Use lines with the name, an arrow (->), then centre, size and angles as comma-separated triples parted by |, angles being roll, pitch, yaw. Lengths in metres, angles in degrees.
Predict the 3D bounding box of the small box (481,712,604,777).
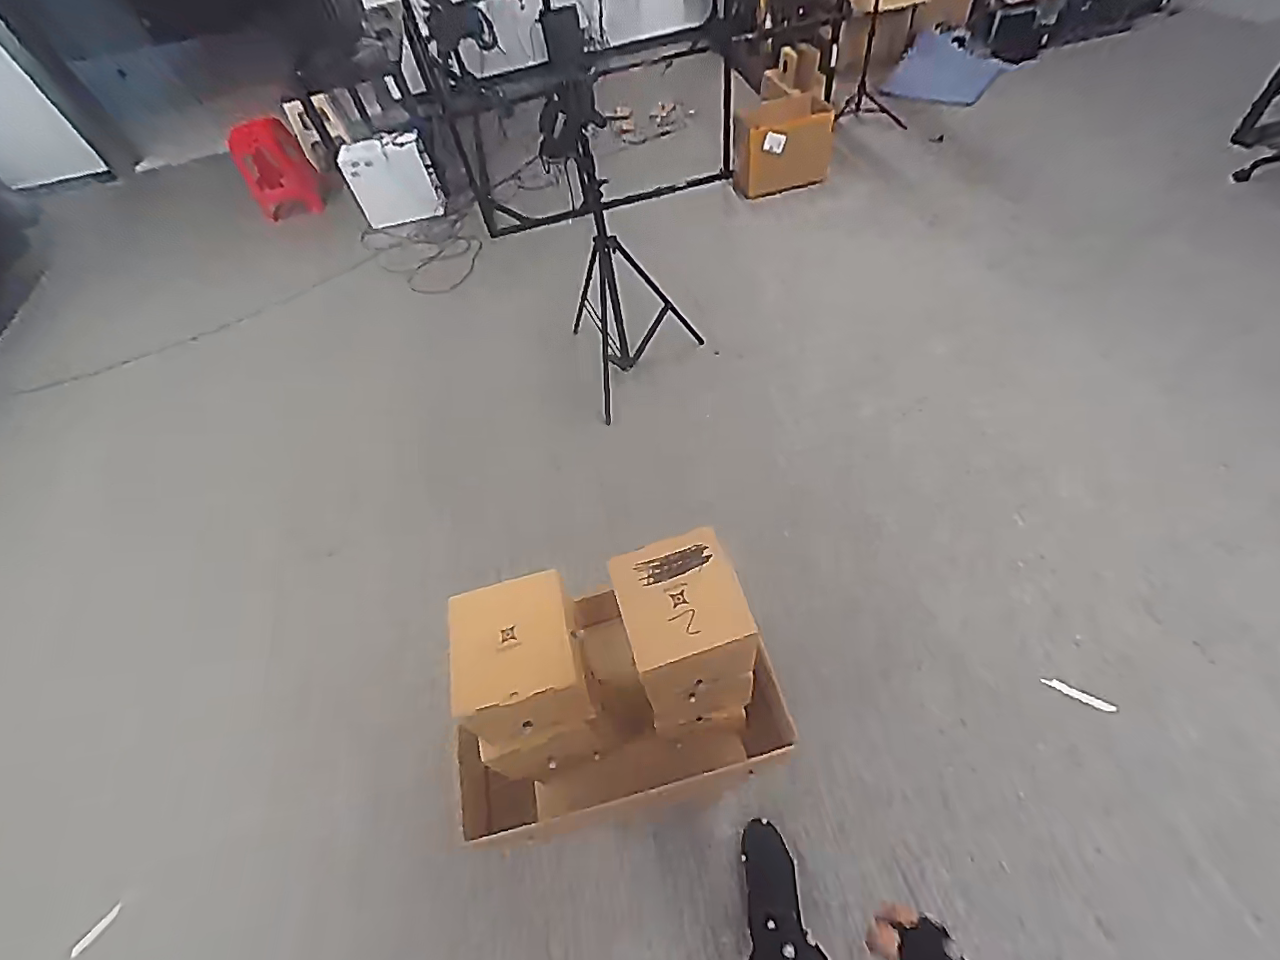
small box -> -0.170, 0.380, 0.927 | 0.168, 0.176, 0.179 | -18, 54, -6

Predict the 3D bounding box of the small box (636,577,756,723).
small box -> 0.093, 0.298, 0.940 | 0.168, 0.176, 0.179 | -13, 53, 0

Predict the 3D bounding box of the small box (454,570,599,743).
small box -> -0.166, 0.266, 0.807 | 0.168, 0.176, 0.179 | -15, 54, -5
